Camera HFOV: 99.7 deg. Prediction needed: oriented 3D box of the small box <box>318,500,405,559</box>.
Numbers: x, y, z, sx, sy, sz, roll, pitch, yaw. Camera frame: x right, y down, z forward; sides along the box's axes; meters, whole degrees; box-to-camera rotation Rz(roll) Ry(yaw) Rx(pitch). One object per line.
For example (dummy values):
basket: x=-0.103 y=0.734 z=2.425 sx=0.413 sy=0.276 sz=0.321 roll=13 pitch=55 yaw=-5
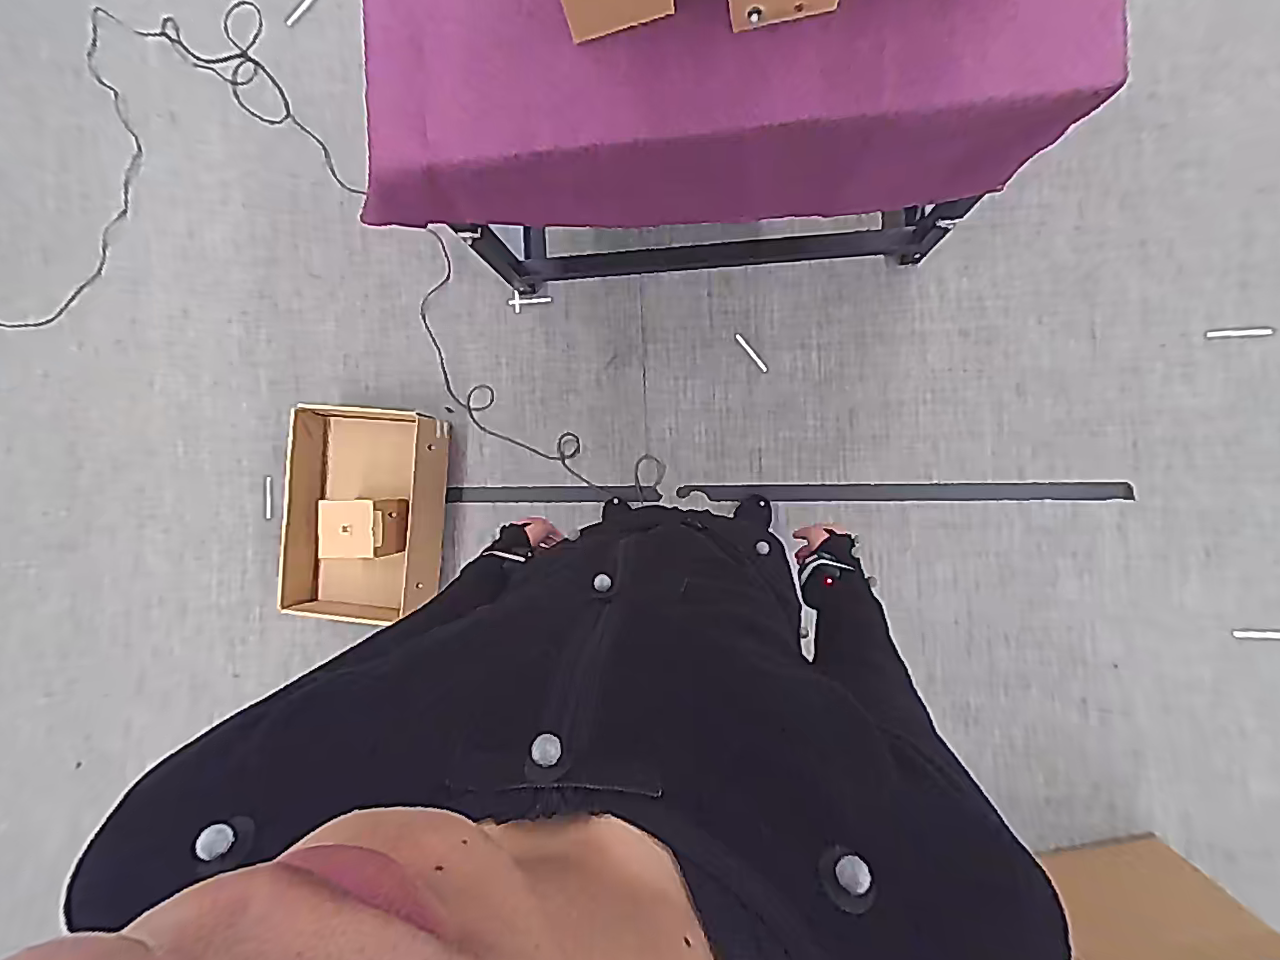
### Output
small box: x=-0.818 y=0.142 z=1.603 sx=0.179 sy=0.176 sz=0.168 roll=-1 pitch=88 yaw=7

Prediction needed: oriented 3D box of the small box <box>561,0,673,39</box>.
small box: x=-0.052 y=-0.829 z=0.824 sx=0.179 sy=0.176 sz=0.168 roll=-11 pitch=89 yaw=7

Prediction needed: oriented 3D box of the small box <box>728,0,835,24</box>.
small box: x=0.211 y=-0.820 z=0.792 sx=0.168 sy=0.176 sz=0.179 roll=-7 pitch=88 yaw=7
